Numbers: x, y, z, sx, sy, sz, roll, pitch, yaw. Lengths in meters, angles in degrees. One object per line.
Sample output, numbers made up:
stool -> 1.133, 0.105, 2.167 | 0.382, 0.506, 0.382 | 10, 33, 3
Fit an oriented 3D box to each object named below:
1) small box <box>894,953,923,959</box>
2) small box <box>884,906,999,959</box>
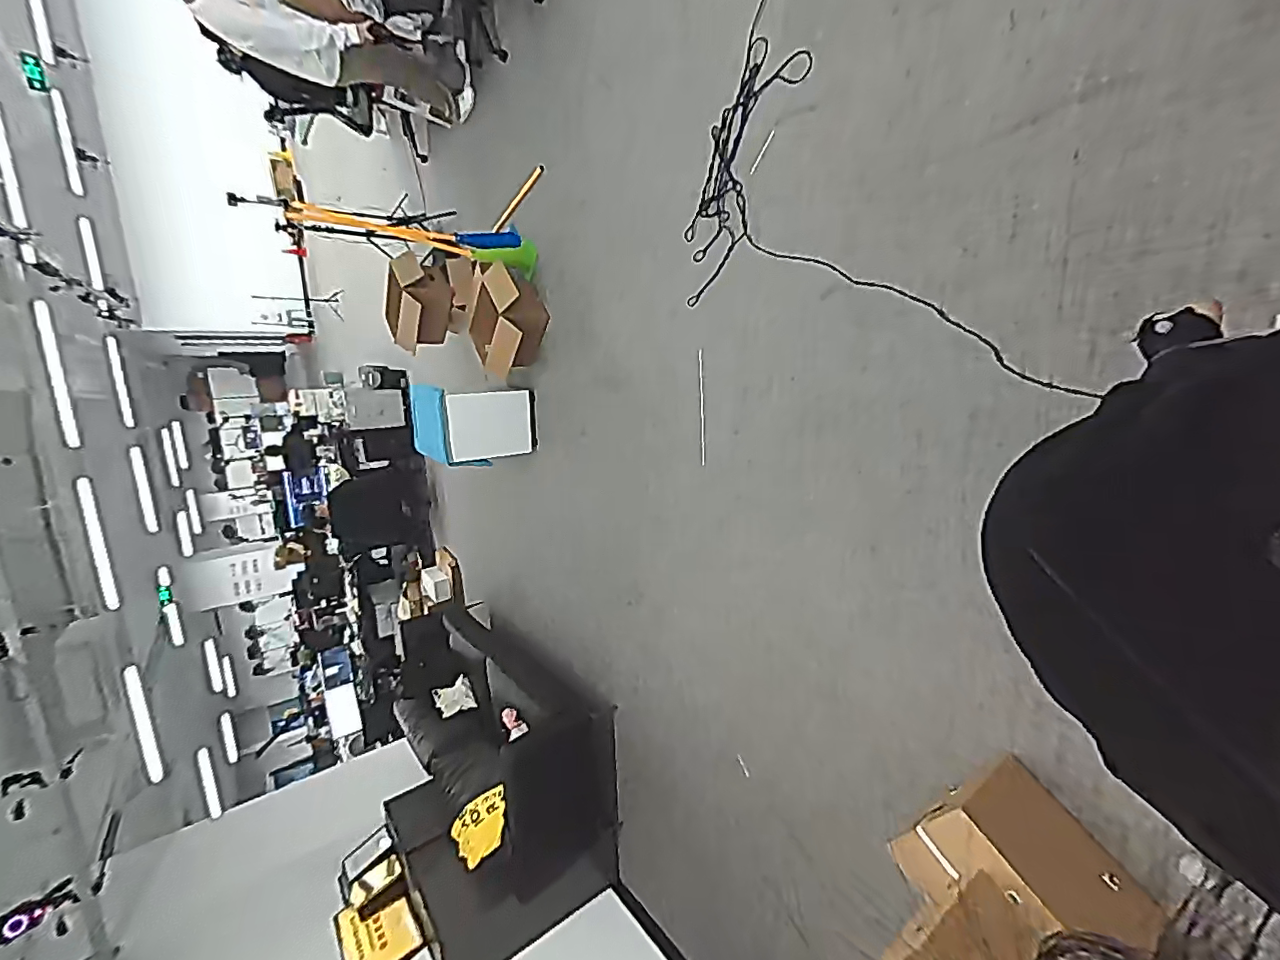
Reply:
small box -> 0.503, 1.057, 1.031 | 0.168, 0.176, 0.179 | 52, 136, 36
small box -> 0.644, 1.039, 1.117 | 0.179, 0.176, 0.168 | 52, 137, 36
